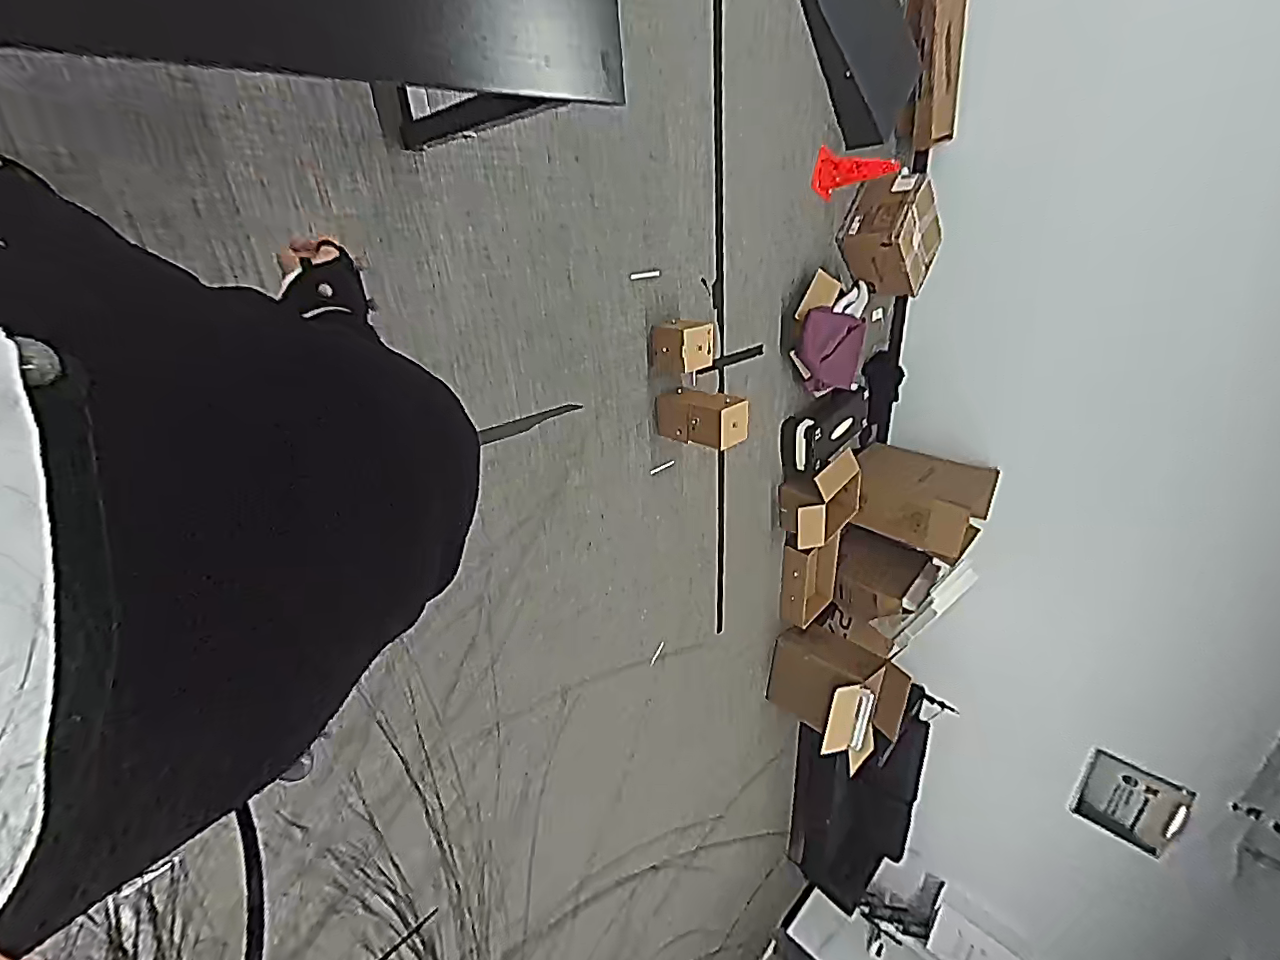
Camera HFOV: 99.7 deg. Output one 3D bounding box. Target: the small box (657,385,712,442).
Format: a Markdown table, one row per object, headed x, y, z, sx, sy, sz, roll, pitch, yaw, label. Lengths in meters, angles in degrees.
| x | y | z | sx | sy | sz | roll | pitch | yaw | label |
| --- | --- | --- | --- | --- | --- | --- | --- | --- | --- |
| 0.187 | -0.280 | 2.246 | 0.168 | 0.176 | 0.179 | -28 | 125 | -37 | small box |

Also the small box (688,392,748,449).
| x | y | z | sx | sy | sz | roll | pitch | yaw | label |
| --- | --- | --- | --- | --- | --- | --- | --- | --- | --- |
| 0.309 | -0.243 | 2.144 | 0.179 | 0.176 | 0.168 | -25 | 122 | -37 | small box |

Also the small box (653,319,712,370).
| x | y | z | sx | sy | sz | roll | pitch | yaw | label |
| --- | --- | --- | --- | --- | --- | --- | --- | --- | --- |
| 0.164 | -0.534 | 2.114 | 0.179 | 0.176 | 0.168 | -24 | 122 | -39 | small box |
